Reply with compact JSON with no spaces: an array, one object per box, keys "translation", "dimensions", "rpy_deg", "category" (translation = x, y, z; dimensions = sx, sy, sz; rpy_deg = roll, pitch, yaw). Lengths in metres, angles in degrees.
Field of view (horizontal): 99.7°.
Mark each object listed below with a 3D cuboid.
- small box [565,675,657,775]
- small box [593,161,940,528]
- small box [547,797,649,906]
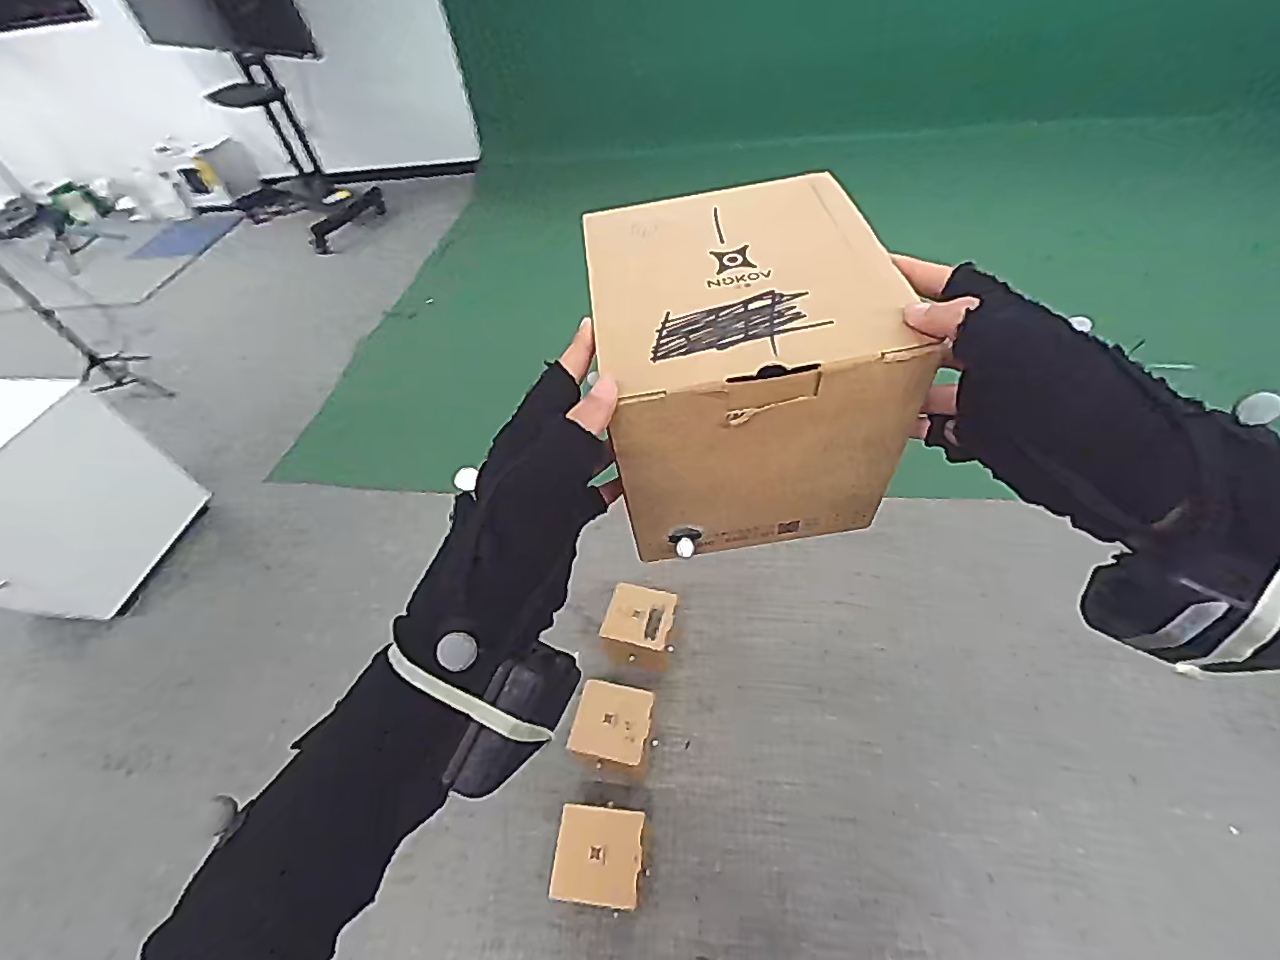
[{"translation":[-0.063,0.602,1.323],"dimensions":[0.179,0.176,0.168],"rpy_deg":[8,52,13],"category":"small box"},{"translation":[0.065,-0.080,0.370],"dimensions":[0.168,0.176,0.179],"rpy_deg":[-8,54,2],"category":"small box"},{"translation":[-0.081,0.799,1.159],"dimensions":[0.179,0.176,0.168],"rpy_deg":[1,50,8],"category":"small box"}]
